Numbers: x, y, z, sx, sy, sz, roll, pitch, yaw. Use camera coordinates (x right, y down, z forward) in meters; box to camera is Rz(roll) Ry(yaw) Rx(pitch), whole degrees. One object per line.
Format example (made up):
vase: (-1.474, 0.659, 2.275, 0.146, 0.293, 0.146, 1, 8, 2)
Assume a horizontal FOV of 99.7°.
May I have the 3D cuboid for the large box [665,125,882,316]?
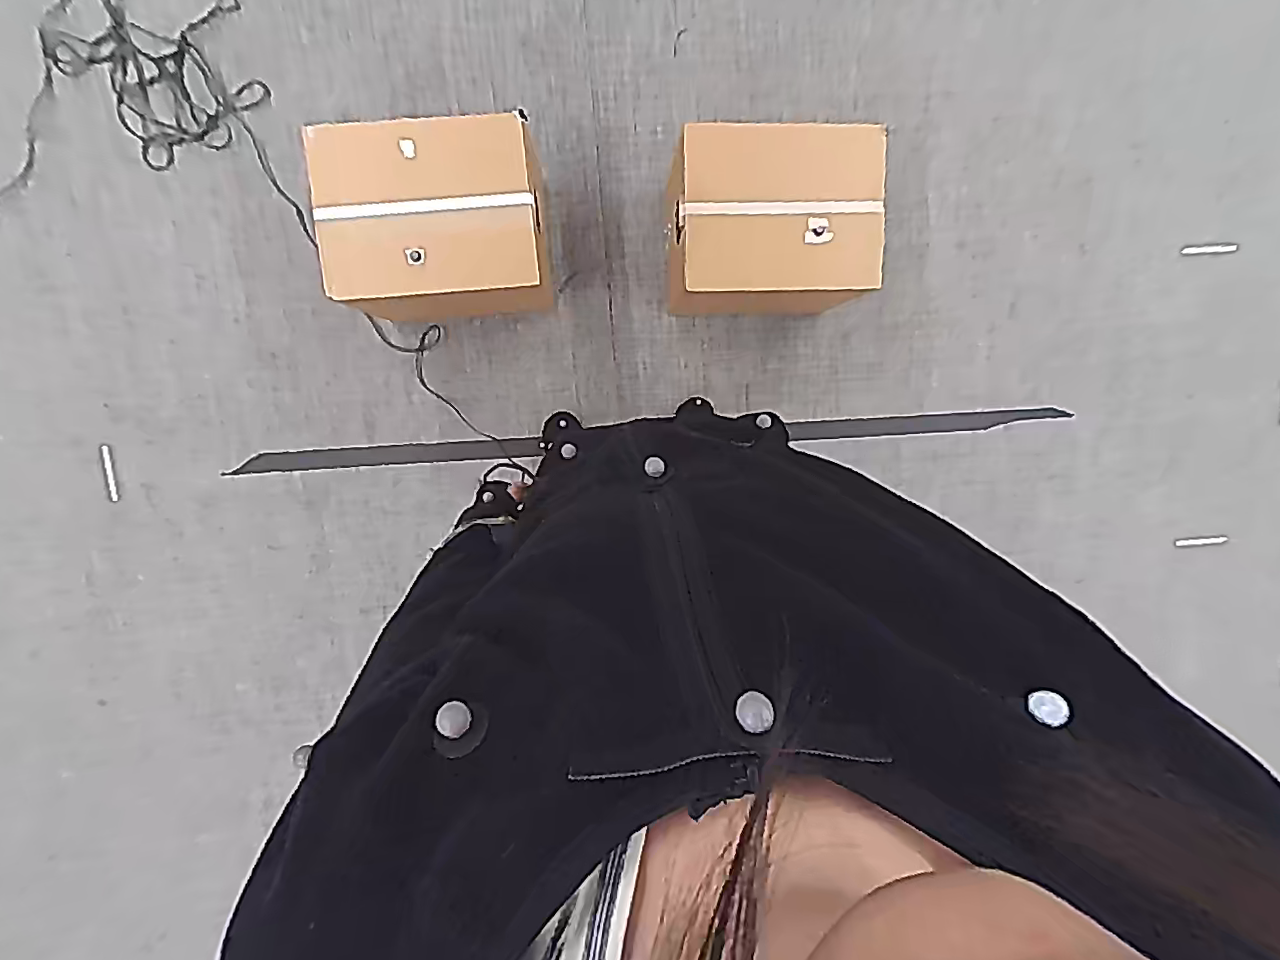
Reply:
large box: (0.275, -0.560, 1.223, 0.408, 0.320, 0.320, -2, 98, -4)
